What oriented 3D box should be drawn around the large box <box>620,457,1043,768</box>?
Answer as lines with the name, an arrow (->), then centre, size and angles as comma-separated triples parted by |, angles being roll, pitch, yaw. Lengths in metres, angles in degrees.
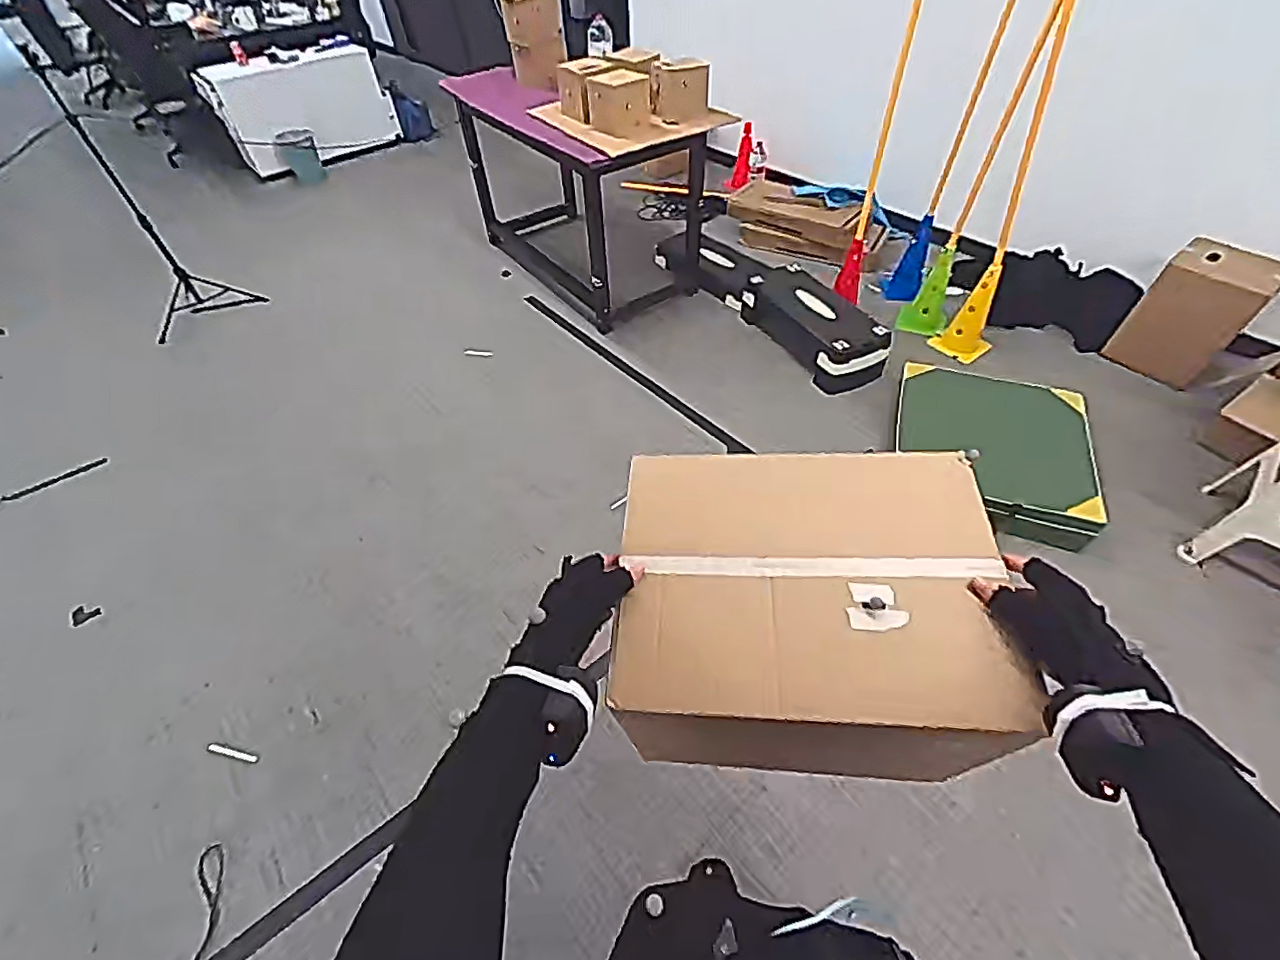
large box -> 0.199, 0.184, 0.723 | 0.408, 0.320, 0.320 | 0, 56, 8
